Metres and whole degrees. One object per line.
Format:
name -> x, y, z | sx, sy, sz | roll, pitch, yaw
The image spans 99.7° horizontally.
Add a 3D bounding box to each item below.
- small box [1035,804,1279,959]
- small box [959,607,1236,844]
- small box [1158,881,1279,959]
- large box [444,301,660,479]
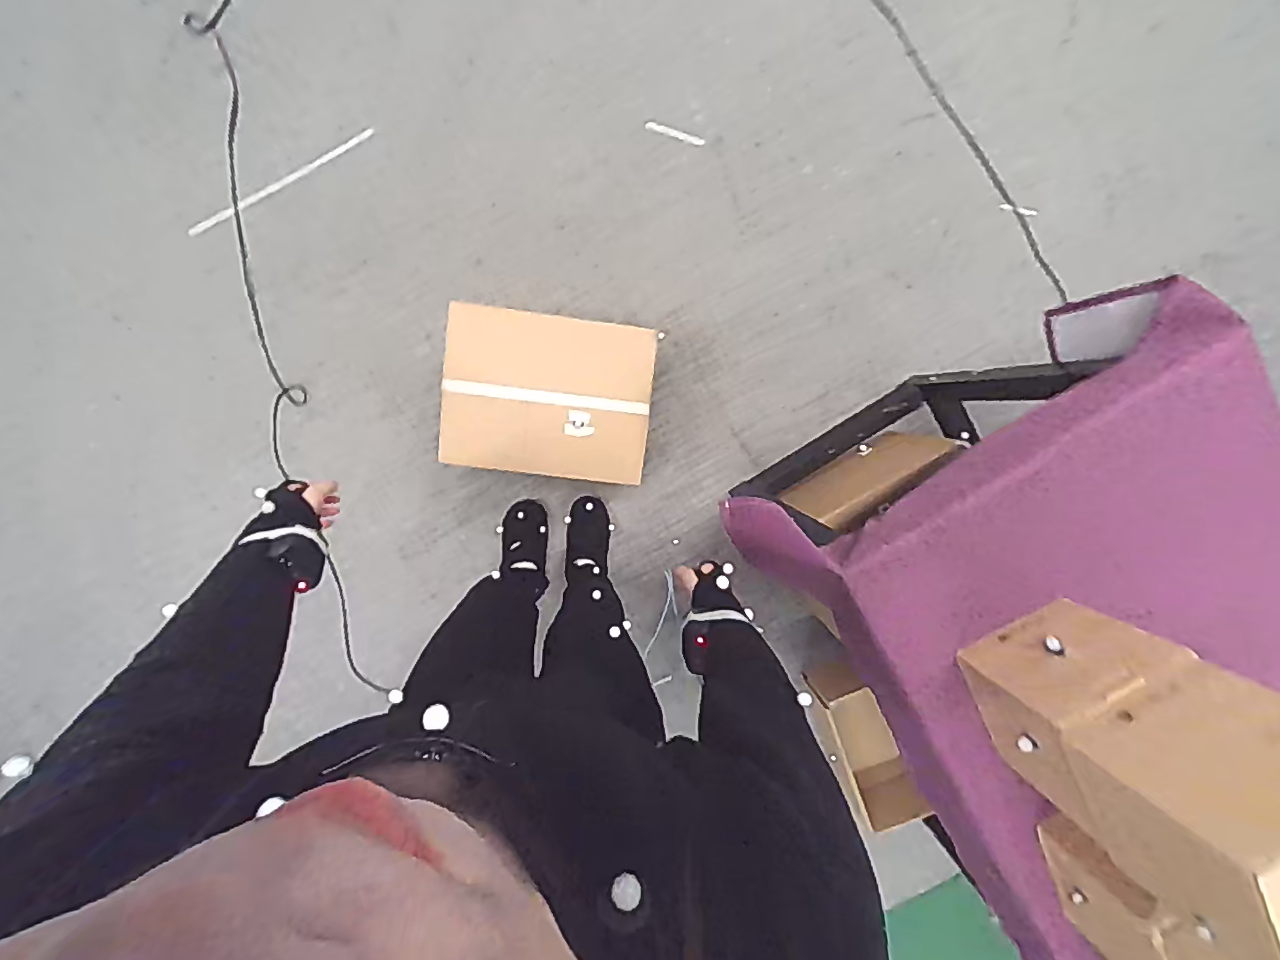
small box -> 0.673, 0.531, 0.703 | 0.179, 0.176, 0.168 | -23, 99, 0
small box -> 0.530, 0.274, 0.654 | 0.168, 0.176, 0.179 | -28, 99, 1
small box -> 0.692, 0.553, 0.541 | 0.179, 0.176, 0.168 | -22, 99, 0
large box -> -0.188, -0.191, 1.204 | 0.408, 0.320, 0.320 | 6, 99, -6
